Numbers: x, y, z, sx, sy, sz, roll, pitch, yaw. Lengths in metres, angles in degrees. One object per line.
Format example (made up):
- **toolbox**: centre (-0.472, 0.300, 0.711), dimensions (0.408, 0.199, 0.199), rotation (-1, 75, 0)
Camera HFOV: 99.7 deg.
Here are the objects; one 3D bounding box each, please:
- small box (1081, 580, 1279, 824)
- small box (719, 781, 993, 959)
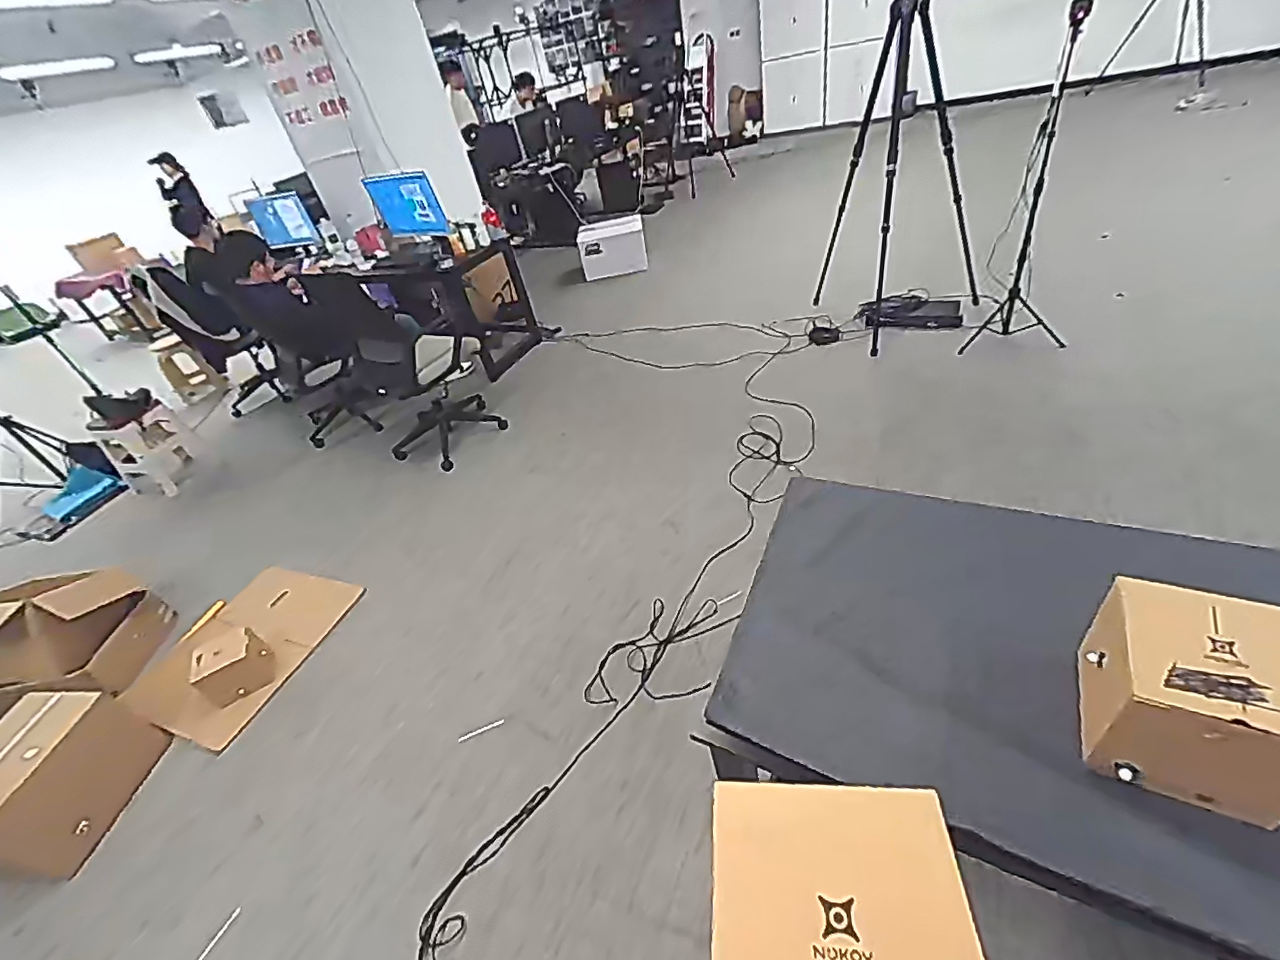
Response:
- **small box**: centre (0.634, 0.250, 0.621), dimensions (0.168, 0.176, 0.179), rotation (11, 43, 29)
- **small box**: centre (0.145, 0.349, 0.392), dimensions (0.168, 0.176, 0.179), rotation (-4, 38, 11)
